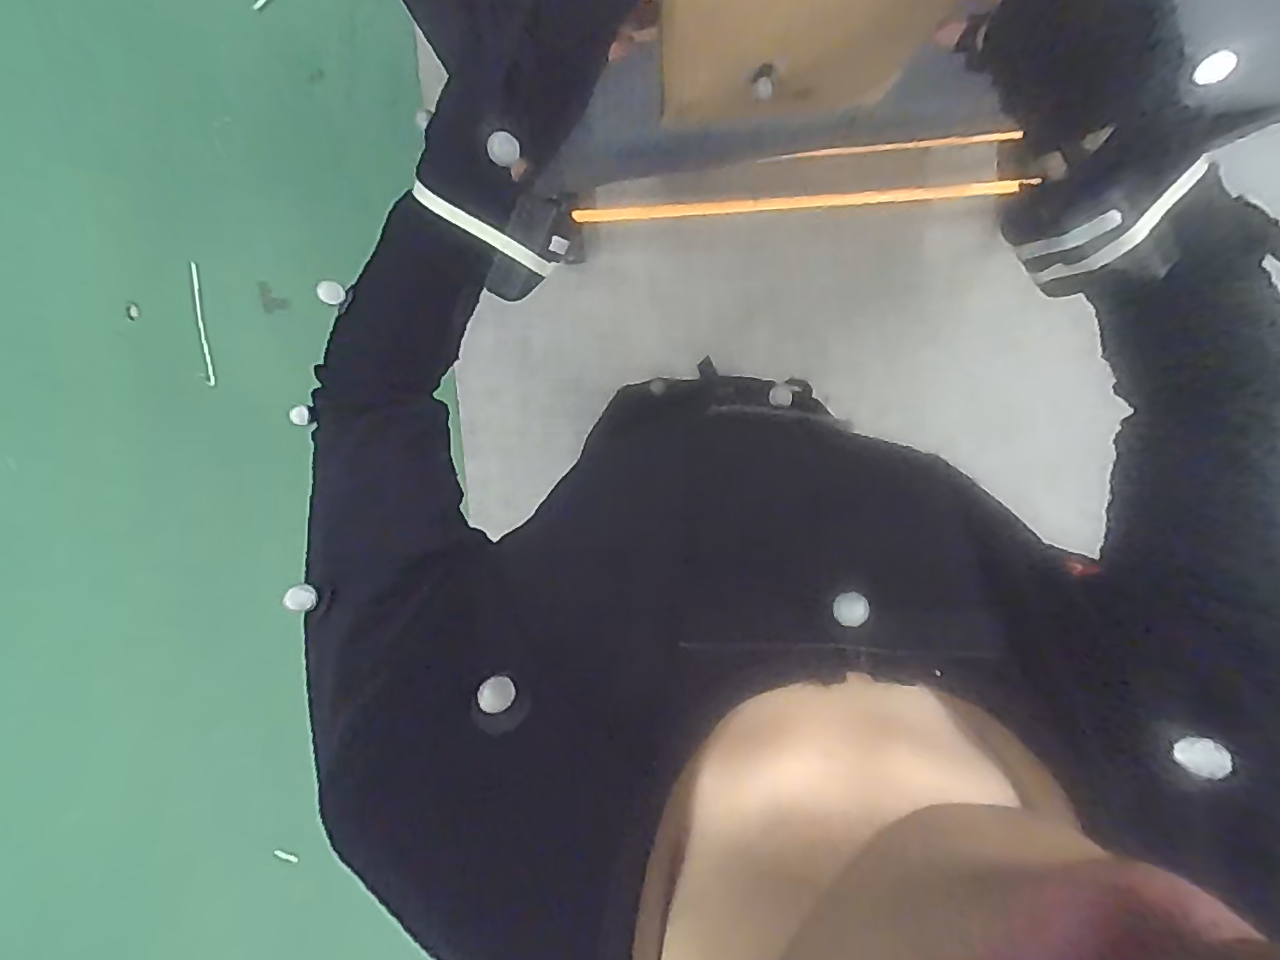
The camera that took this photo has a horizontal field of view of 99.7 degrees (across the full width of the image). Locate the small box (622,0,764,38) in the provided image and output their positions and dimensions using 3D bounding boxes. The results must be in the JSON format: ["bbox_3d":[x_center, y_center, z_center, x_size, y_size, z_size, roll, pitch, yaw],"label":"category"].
[{"bbox_3d":[0.053,-0.613,0.559,0.168,0.176,0.179,-6,99,2],"label":"small box"}]
